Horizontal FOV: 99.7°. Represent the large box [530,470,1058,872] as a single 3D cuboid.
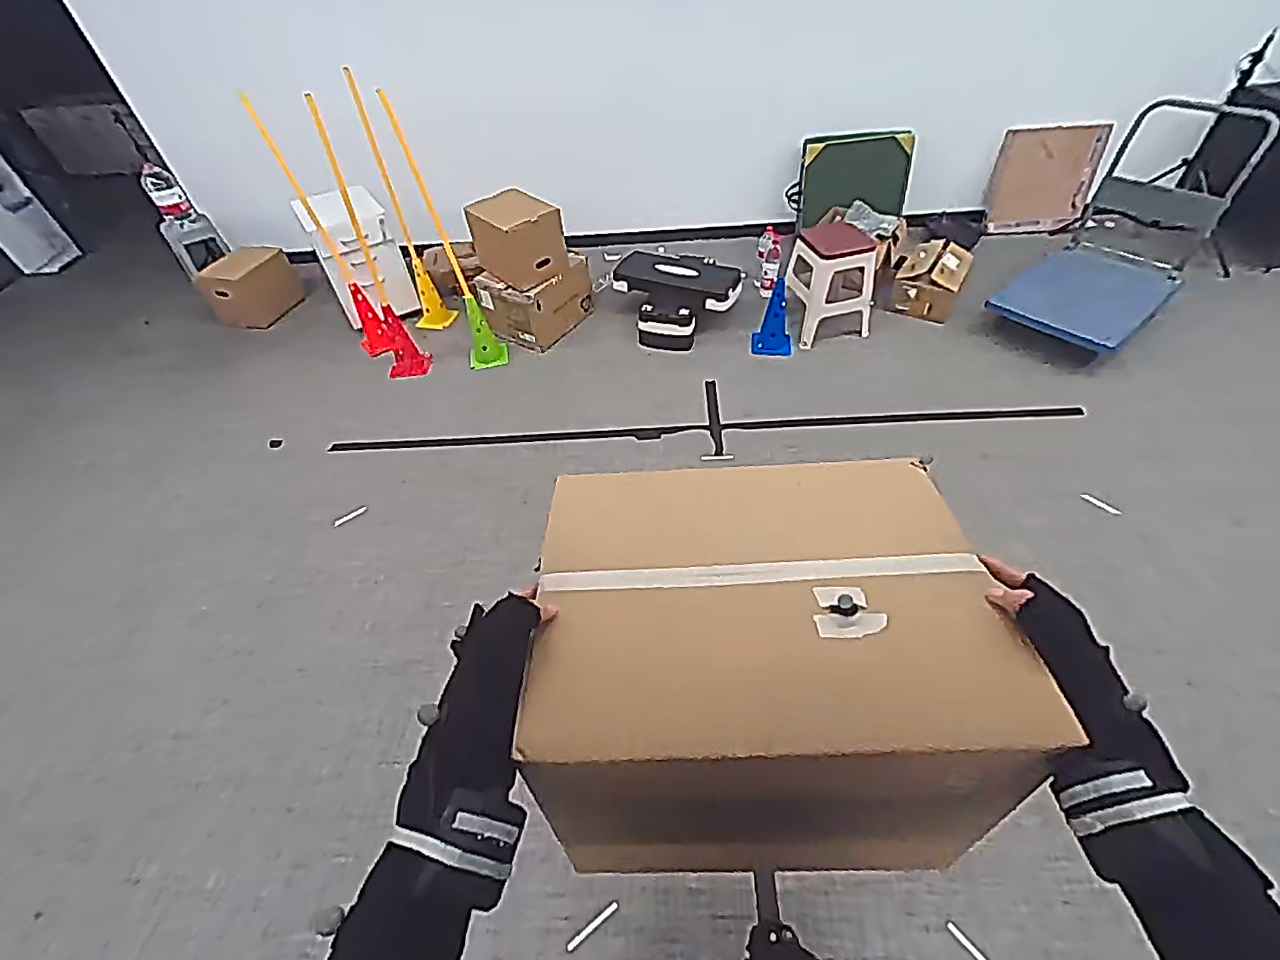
[{"bbox_3d":[0.118,0.211,0.610,0.408,0.320,0.320,-3,42,2],"label":"large box"}]
